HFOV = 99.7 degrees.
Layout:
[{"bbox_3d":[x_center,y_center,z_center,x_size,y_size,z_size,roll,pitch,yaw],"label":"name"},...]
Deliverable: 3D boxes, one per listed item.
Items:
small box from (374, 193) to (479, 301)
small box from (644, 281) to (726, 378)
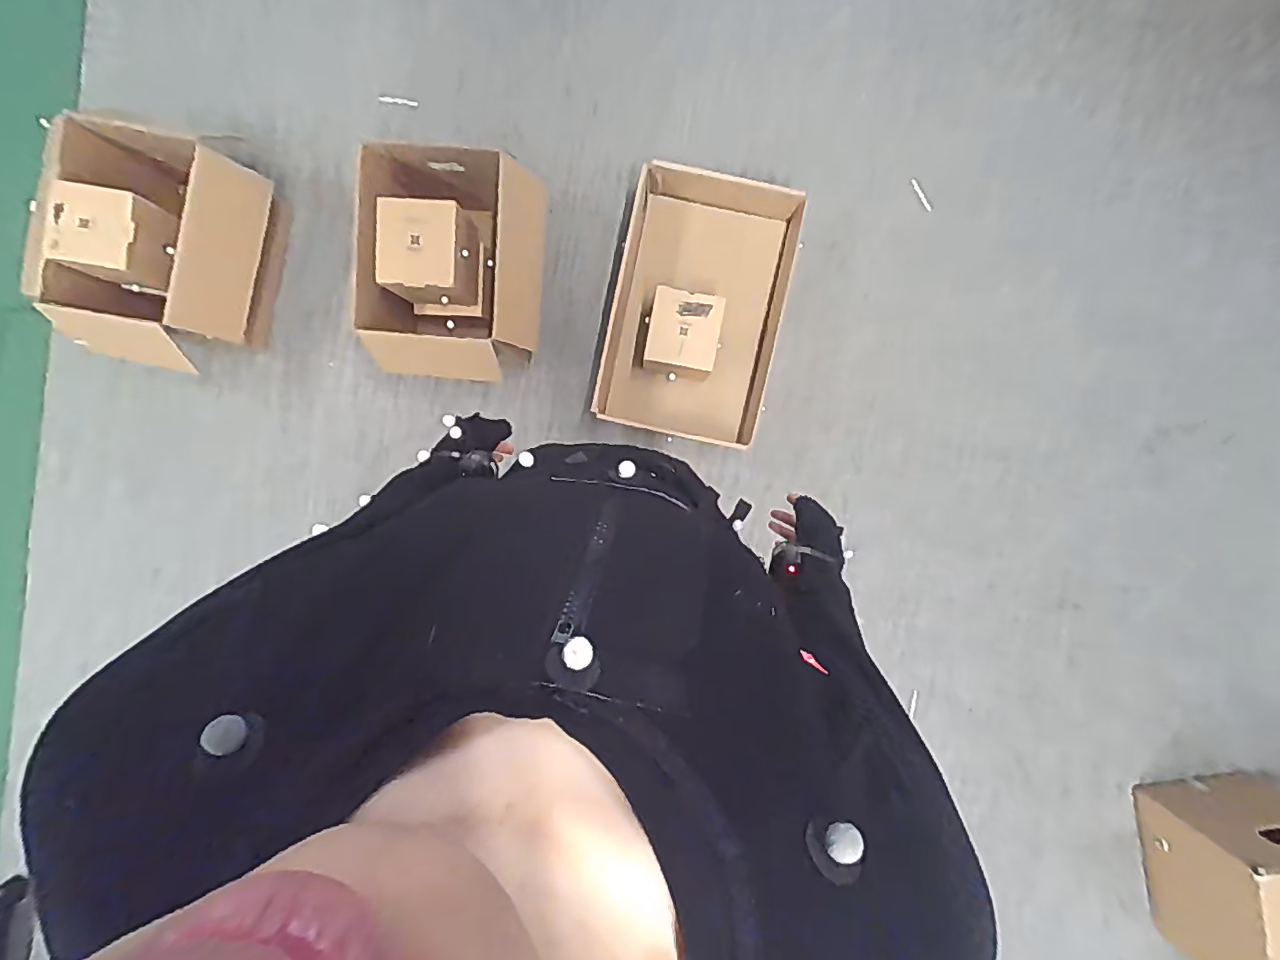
[{"bbox_3d":[-0.462,-0.504,1.190,0.168,0.176,0.179,4,95,0],"label":"small box"},{"bbox_3d":[0.103,-0.359,1.319,0.168,0.176,0.179,11,93,0],"label":"small box"}]
